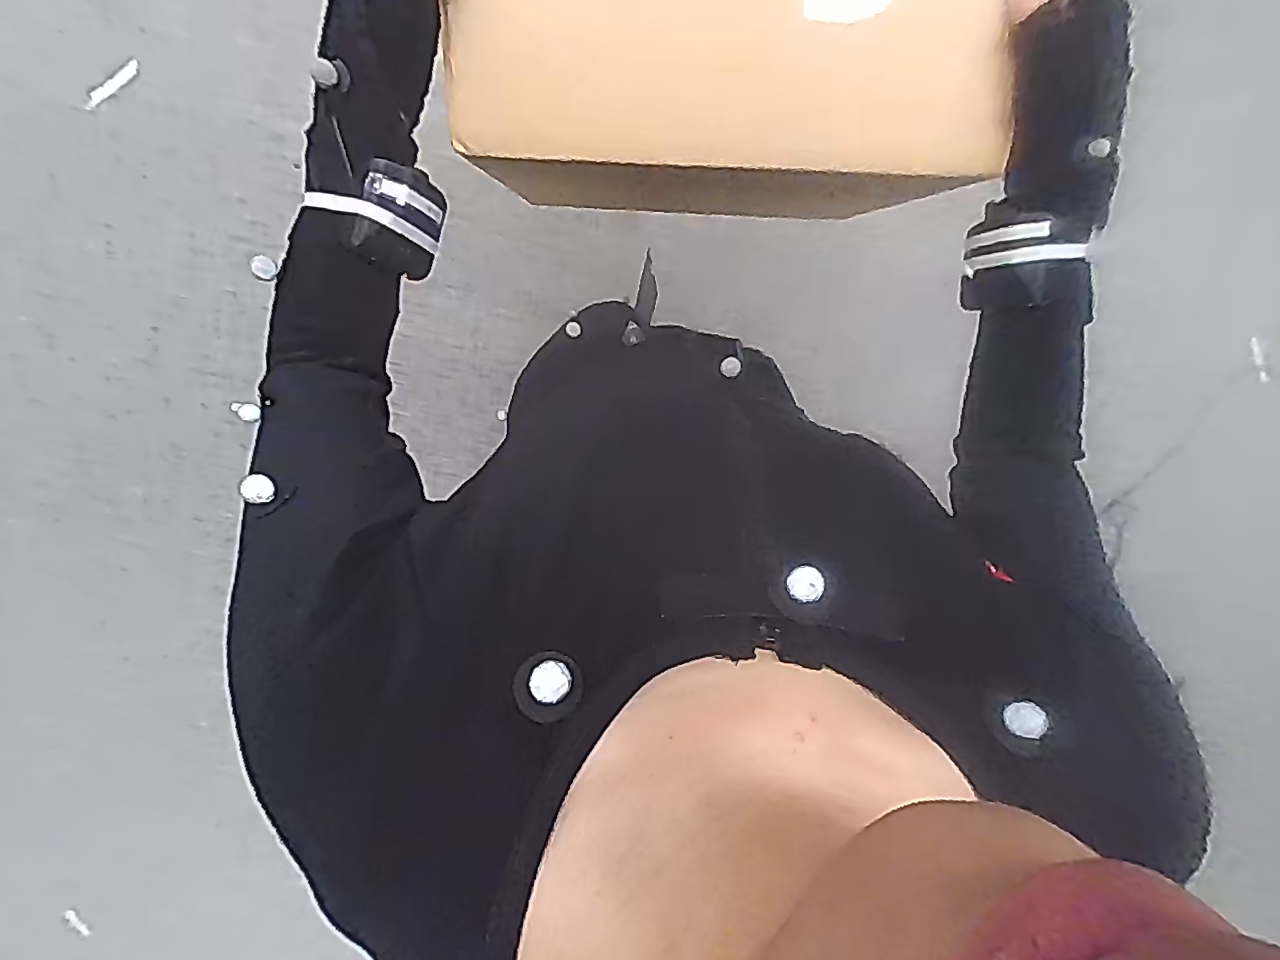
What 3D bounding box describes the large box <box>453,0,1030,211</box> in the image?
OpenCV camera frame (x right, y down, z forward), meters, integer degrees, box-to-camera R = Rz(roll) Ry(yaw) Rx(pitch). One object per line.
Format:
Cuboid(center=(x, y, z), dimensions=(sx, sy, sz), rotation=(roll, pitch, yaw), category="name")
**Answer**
Cuboid(center=(0.066, -0.432, 0.487), dimensions=(0.408, 0.320, 0.320), rotation=(1, 111, -3), category="large box")
